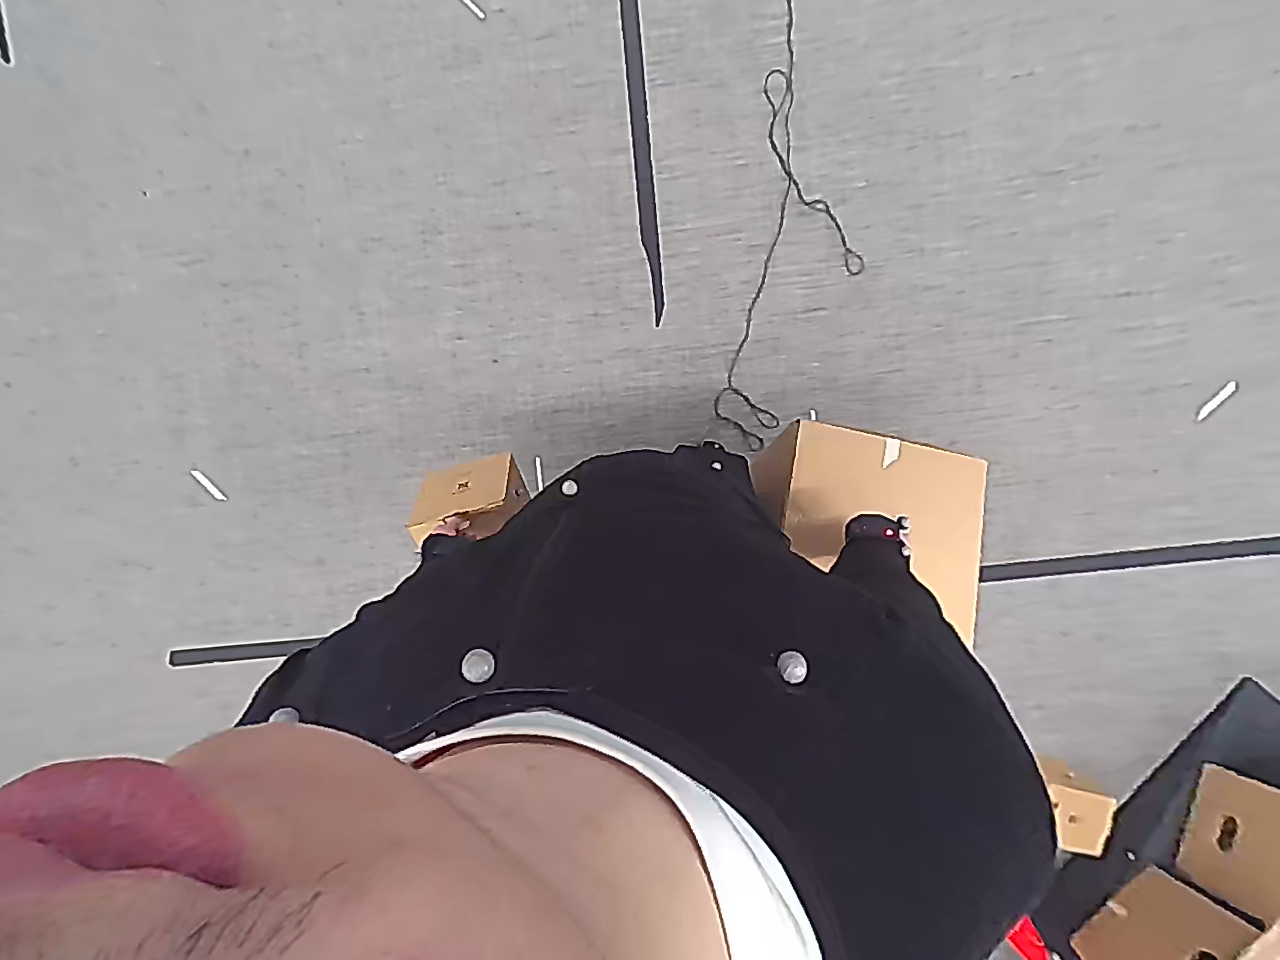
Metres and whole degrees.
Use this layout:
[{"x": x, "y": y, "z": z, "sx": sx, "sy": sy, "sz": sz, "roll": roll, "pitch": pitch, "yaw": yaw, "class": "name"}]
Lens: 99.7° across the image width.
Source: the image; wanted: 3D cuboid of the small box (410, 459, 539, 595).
[{"x": -0.288, "y": 0.090, "z": 0.988, "sx": 0.168, "sy": 0.179, "sz": 0.176, "roll": -15, "pitch": 120, "yaw": -1, "class": "small box"}]
